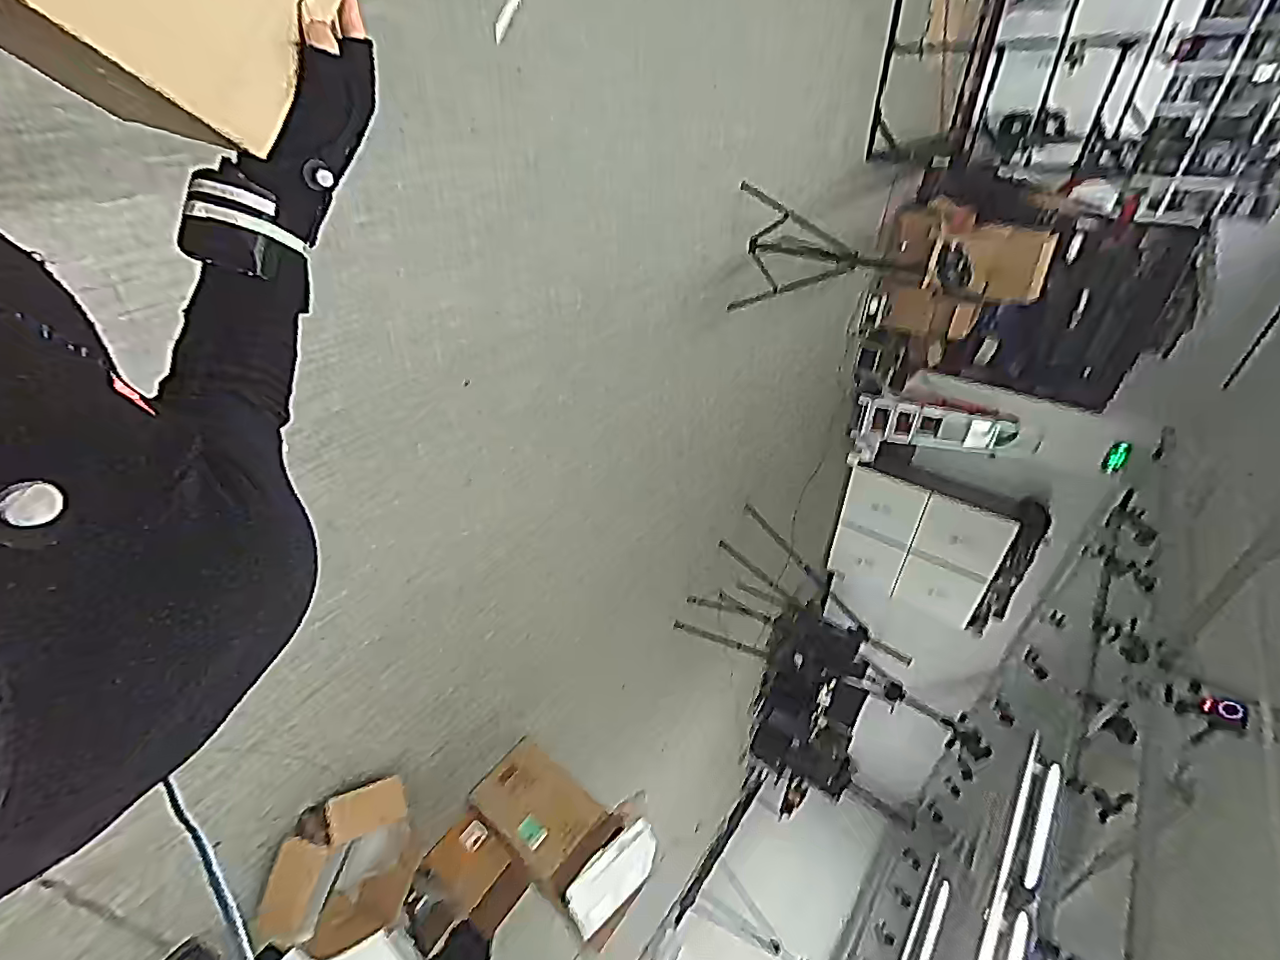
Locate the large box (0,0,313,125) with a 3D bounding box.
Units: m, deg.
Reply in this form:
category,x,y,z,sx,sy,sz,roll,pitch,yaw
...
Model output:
category,x,y,z,sx,sy,sz,roll,pitch,yaw
large box,-0.423,-0.481,0.283,0.408,0.320,0.320,19,97,-62
